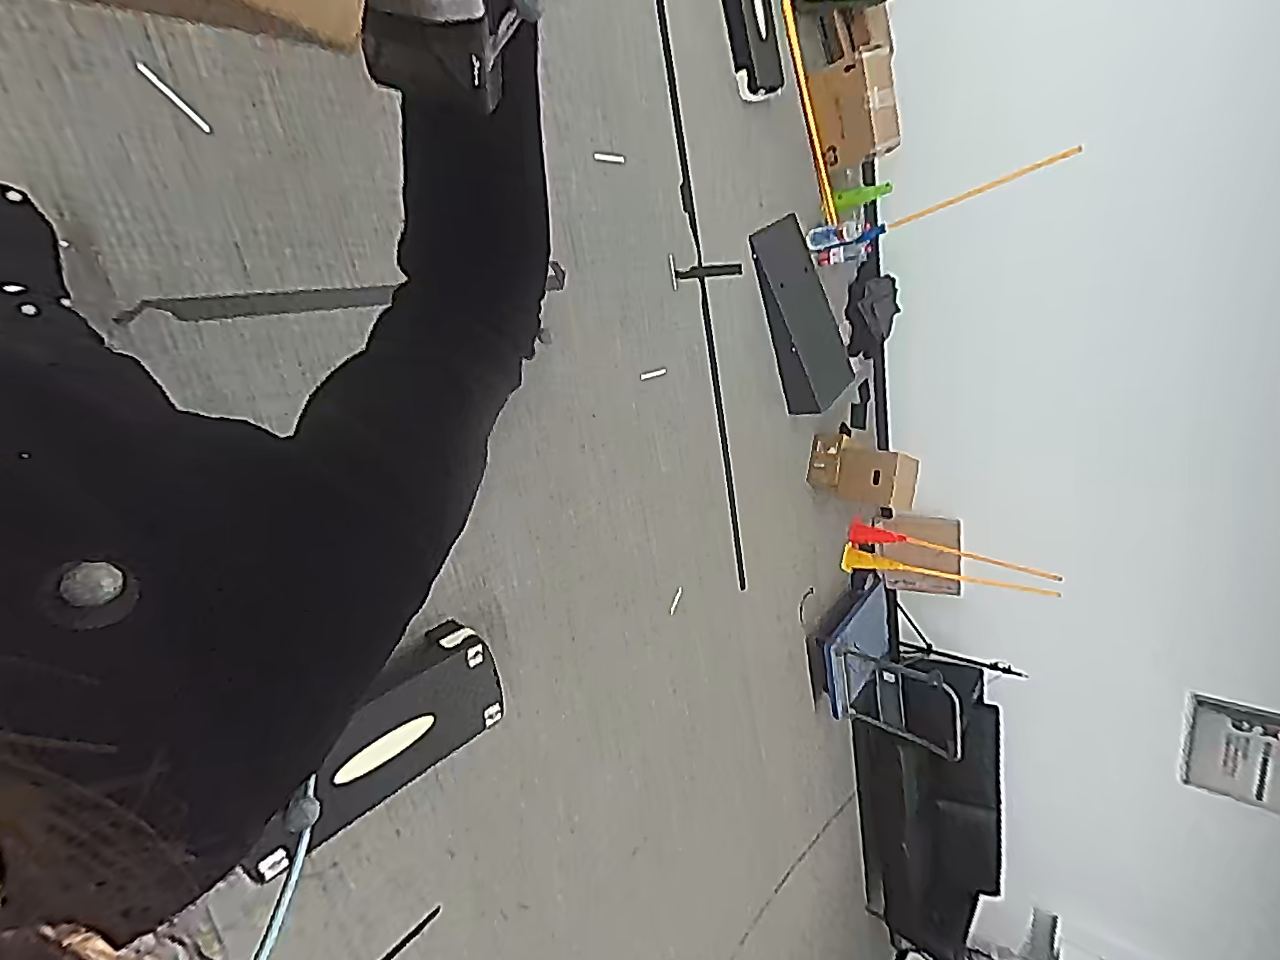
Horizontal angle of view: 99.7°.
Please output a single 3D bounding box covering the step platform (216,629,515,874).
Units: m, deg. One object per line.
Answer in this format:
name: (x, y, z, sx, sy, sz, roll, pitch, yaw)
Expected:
step platform: (-0.662, 0.659, 1.417, 0.684, 0.204, 0.286, -18, 106, -45)
